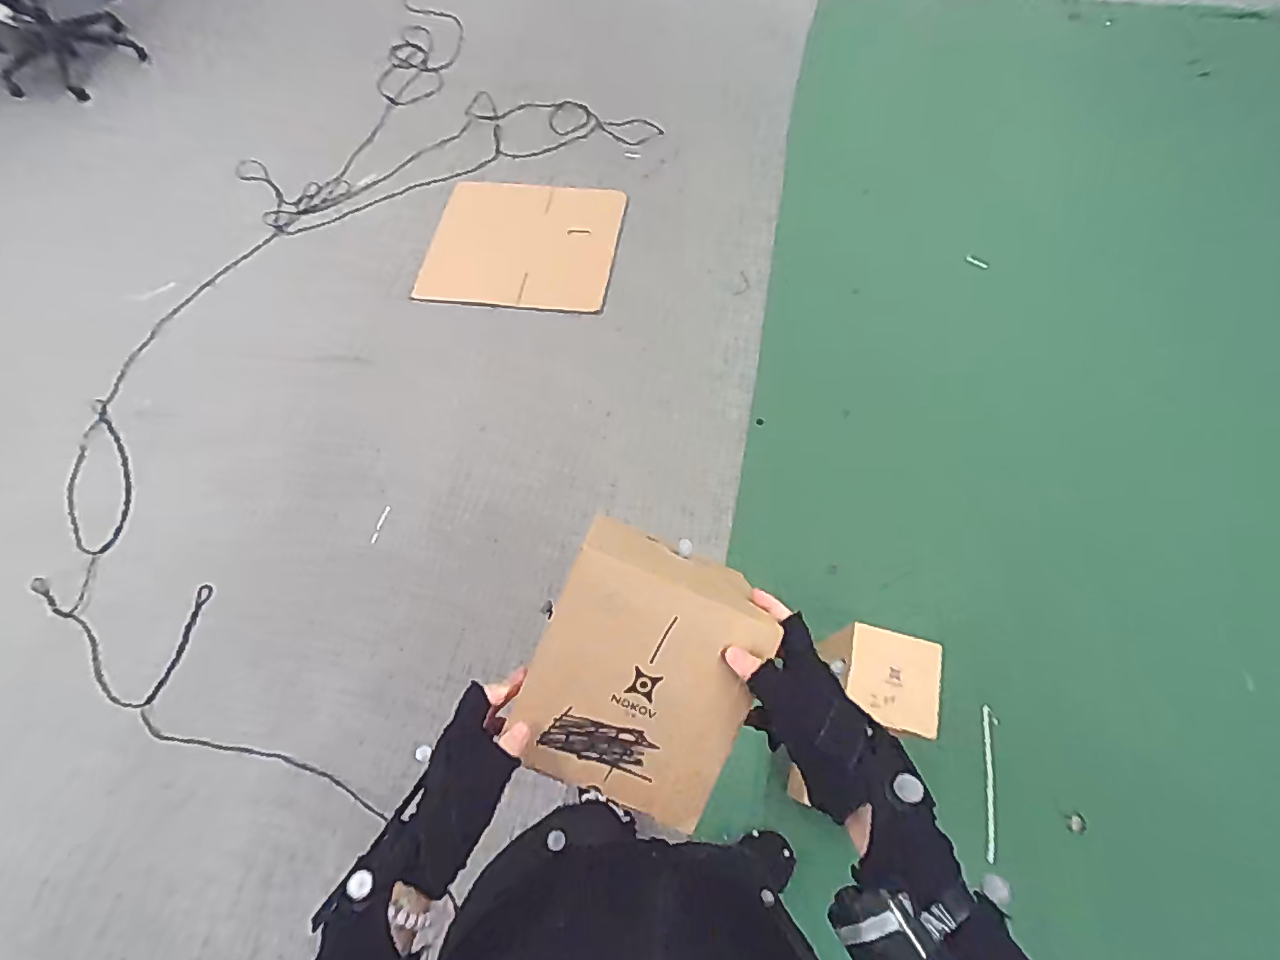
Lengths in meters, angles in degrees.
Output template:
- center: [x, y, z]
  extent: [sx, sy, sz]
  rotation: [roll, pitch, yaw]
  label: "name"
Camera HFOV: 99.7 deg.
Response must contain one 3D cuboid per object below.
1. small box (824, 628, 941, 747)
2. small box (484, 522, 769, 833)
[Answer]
- center: [0.481, 0.419, 1.089]
  extent: [0.168, 0.176, 0.179]
  rotation: [14, 67, 10]
  label: "small box"
- center: [-0.011, 0.154, 0.483]
  extent: [0.168, 0.176, 0.179]
  rotation: [23, 92, -3]
  label: "small box"
